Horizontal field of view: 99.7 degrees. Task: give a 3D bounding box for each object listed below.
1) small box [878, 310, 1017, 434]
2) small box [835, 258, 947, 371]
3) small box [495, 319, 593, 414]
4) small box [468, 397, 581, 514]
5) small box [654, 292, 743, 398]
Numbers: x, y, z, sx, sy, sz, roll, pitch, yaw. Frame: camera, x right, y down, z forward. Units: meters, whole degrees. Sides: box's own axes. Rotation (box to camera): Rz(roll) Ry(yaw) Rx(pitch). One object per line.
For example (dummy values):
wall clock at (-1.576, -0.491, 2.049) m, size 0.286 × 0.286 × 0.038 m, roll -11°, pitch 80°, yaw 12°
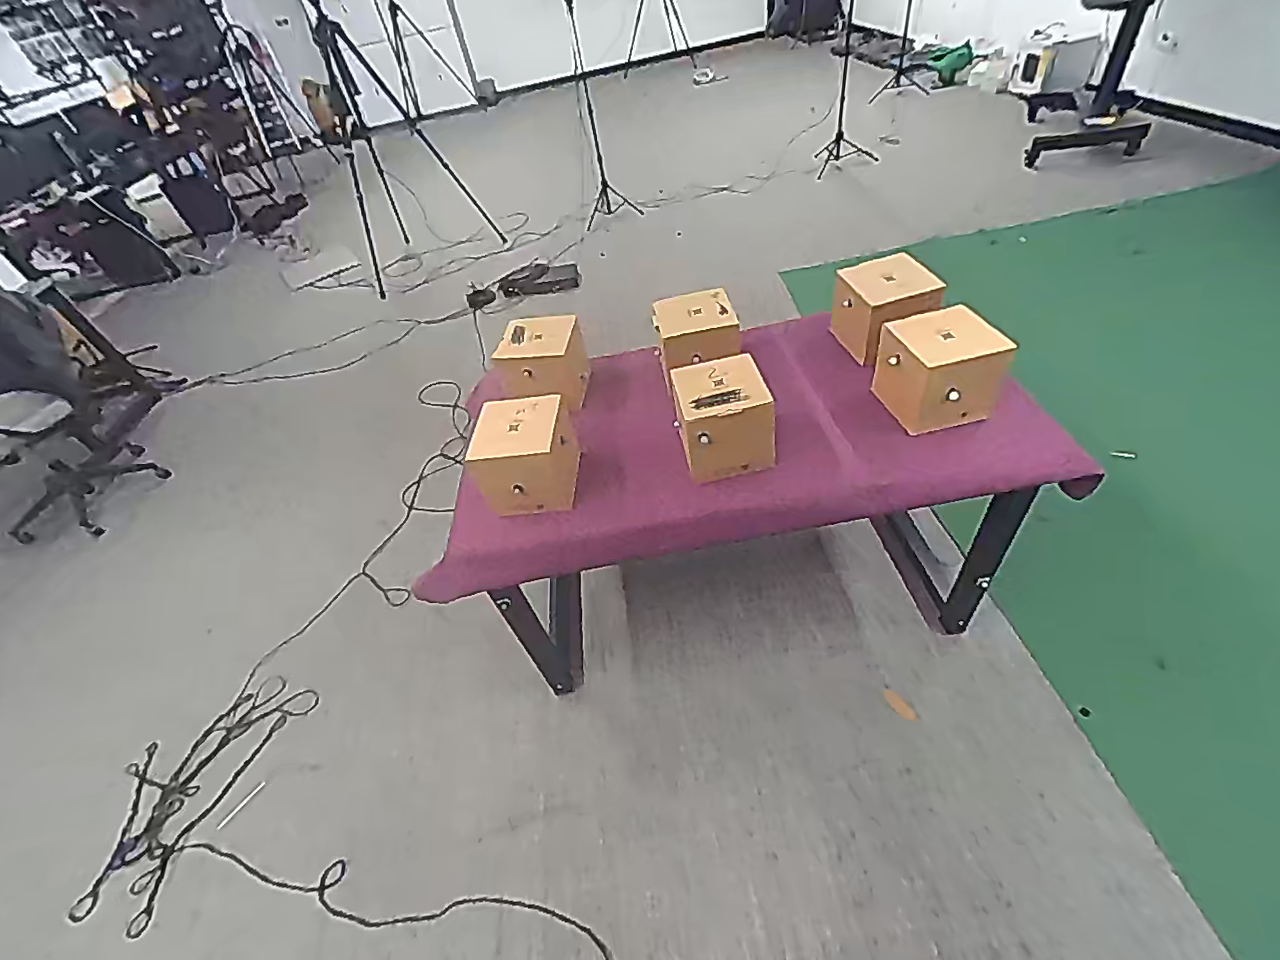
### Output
small box at (0.598, -0.209, 1.079) m, size 0.168 × 0.176 × 0.179 m, roll -13°, pitch 43°, yaw 1°
small box at (0.568, -0.382, 1.255) m, size 0.168 × 0.176 × 0.179 m, roll -15°, pitch 47°, yaw 0°
small box at (-0.225, -0.272, 1.323) m, size 0.179 × 0.176 × 0.168 m, roll -1°, pitch 48°, yaw 10°
small box at (-0.223, -0.043, 1.100) m, size 0.168 × 0.176 × 0.179 m, roll -5°, pitch 46°, yaw 8°
small box at (0.141, -0.316, 1.287) m, size 0.179 × 0.176 × 0.168 m, roll -12°, pitch 47°, yaw 3°
